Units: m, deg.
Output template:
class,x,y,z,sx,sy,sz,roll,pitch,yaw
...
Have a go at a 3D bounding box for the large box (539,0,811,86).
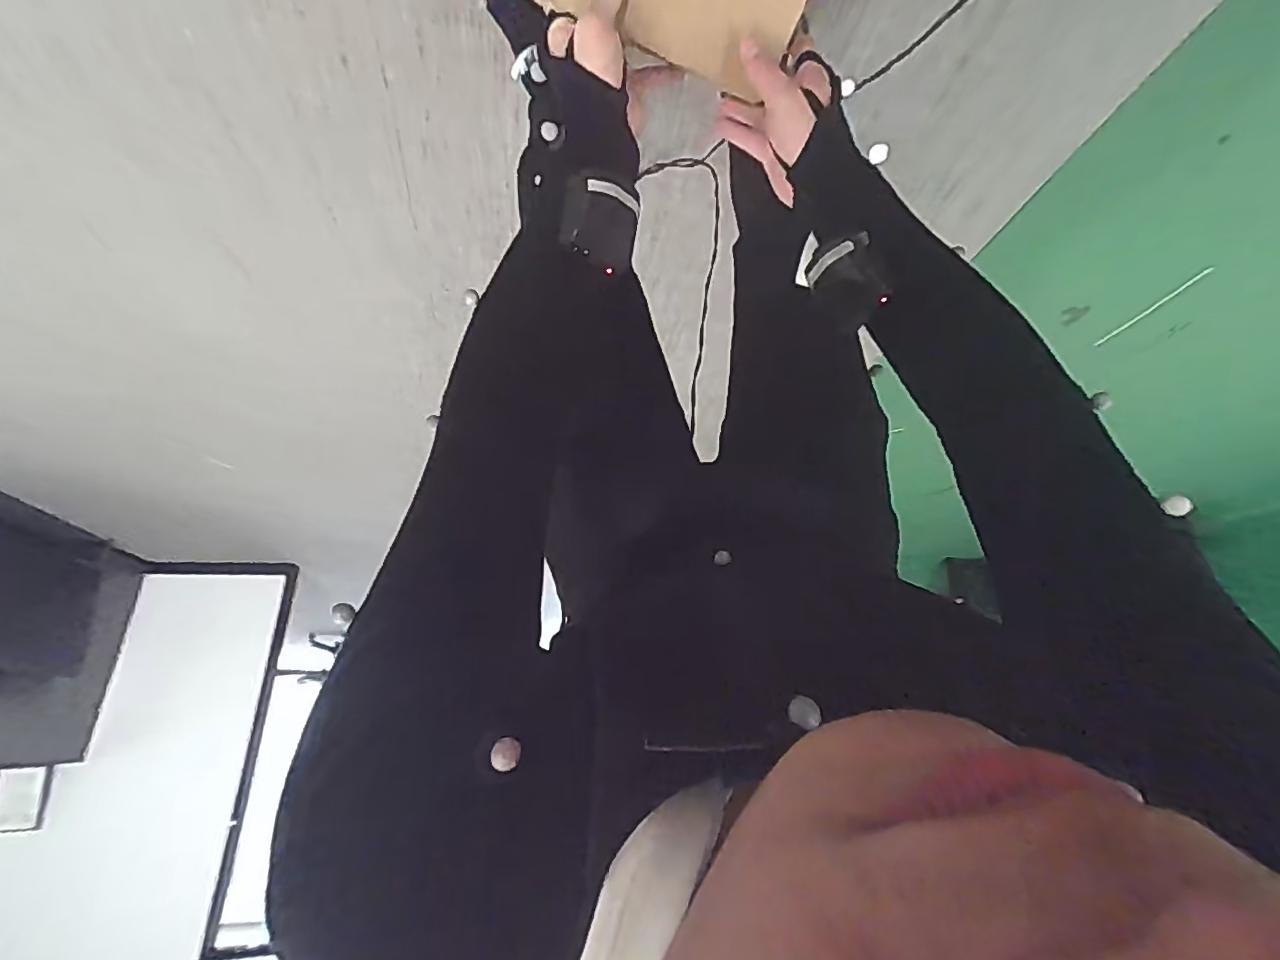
class,x,y,z,sx,sy,sz,roll,pitch,yaw
large box,0.028,-0.615,0.437,0.320,0.320,0.408,13,127,-16
